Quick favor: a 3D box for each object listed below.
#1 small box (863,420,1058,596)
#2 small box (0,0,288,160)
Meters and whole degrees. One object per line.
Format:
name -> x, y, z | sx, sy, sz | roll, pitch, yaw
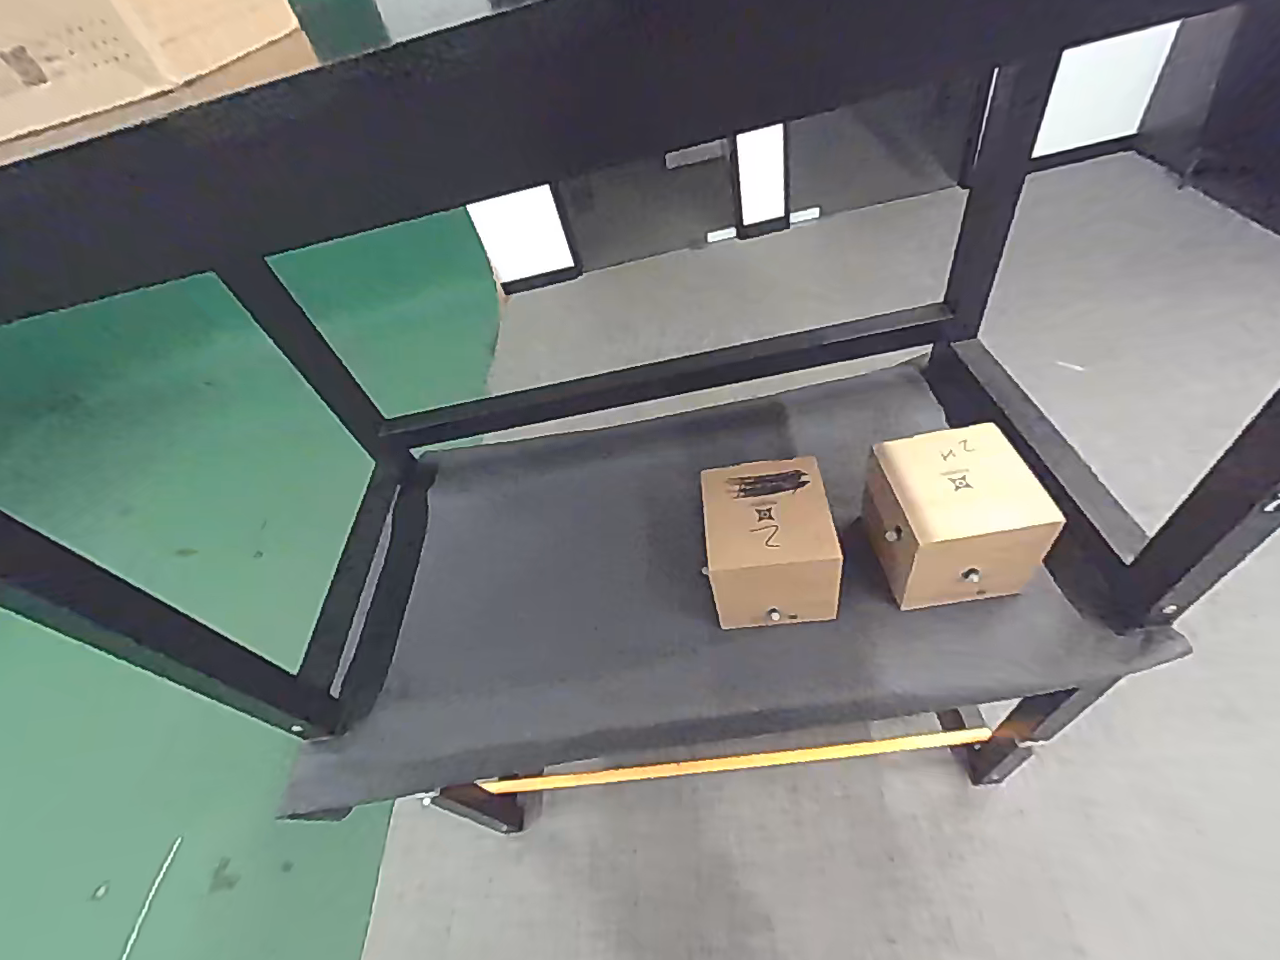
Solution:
small box -> 0.424, 0.047, 0.753 | 0.168, 0.176, 0.179 | -10, 47, 7
small box -> -0.332, -0.289, 0.281 | 0.168, 0.176, 0.179 | -11, 48, 7
